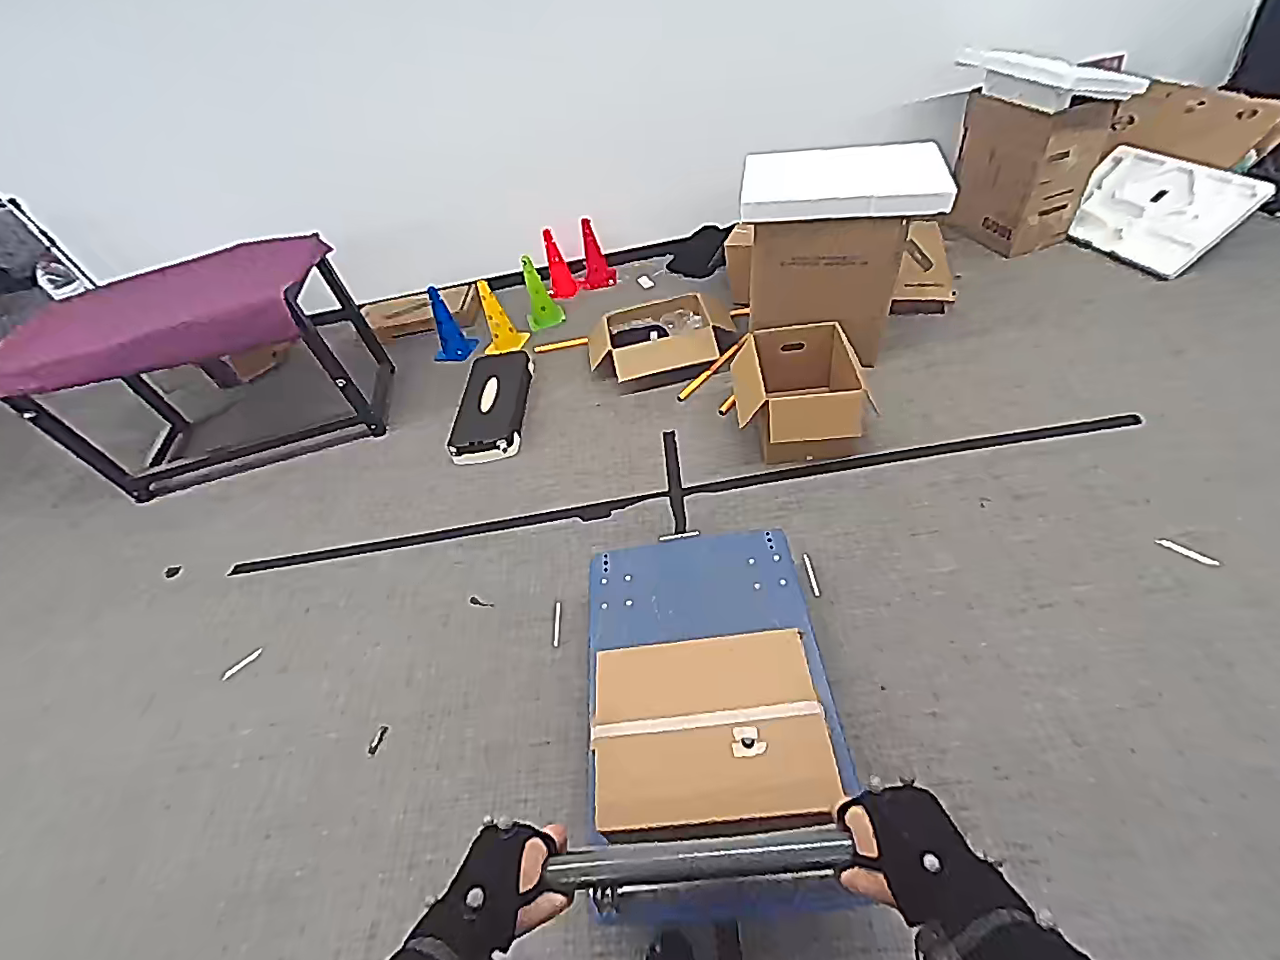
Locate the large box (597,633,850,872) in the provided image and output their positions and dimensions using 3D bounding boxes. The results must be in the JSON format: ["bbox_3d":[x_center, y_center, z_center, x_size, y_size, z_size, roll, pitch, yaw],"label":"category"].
[{"bbox_3d":[0.141,0.533,1.050,0.408,0.320,0.320,-8,46,4],"label":"large box"}]
